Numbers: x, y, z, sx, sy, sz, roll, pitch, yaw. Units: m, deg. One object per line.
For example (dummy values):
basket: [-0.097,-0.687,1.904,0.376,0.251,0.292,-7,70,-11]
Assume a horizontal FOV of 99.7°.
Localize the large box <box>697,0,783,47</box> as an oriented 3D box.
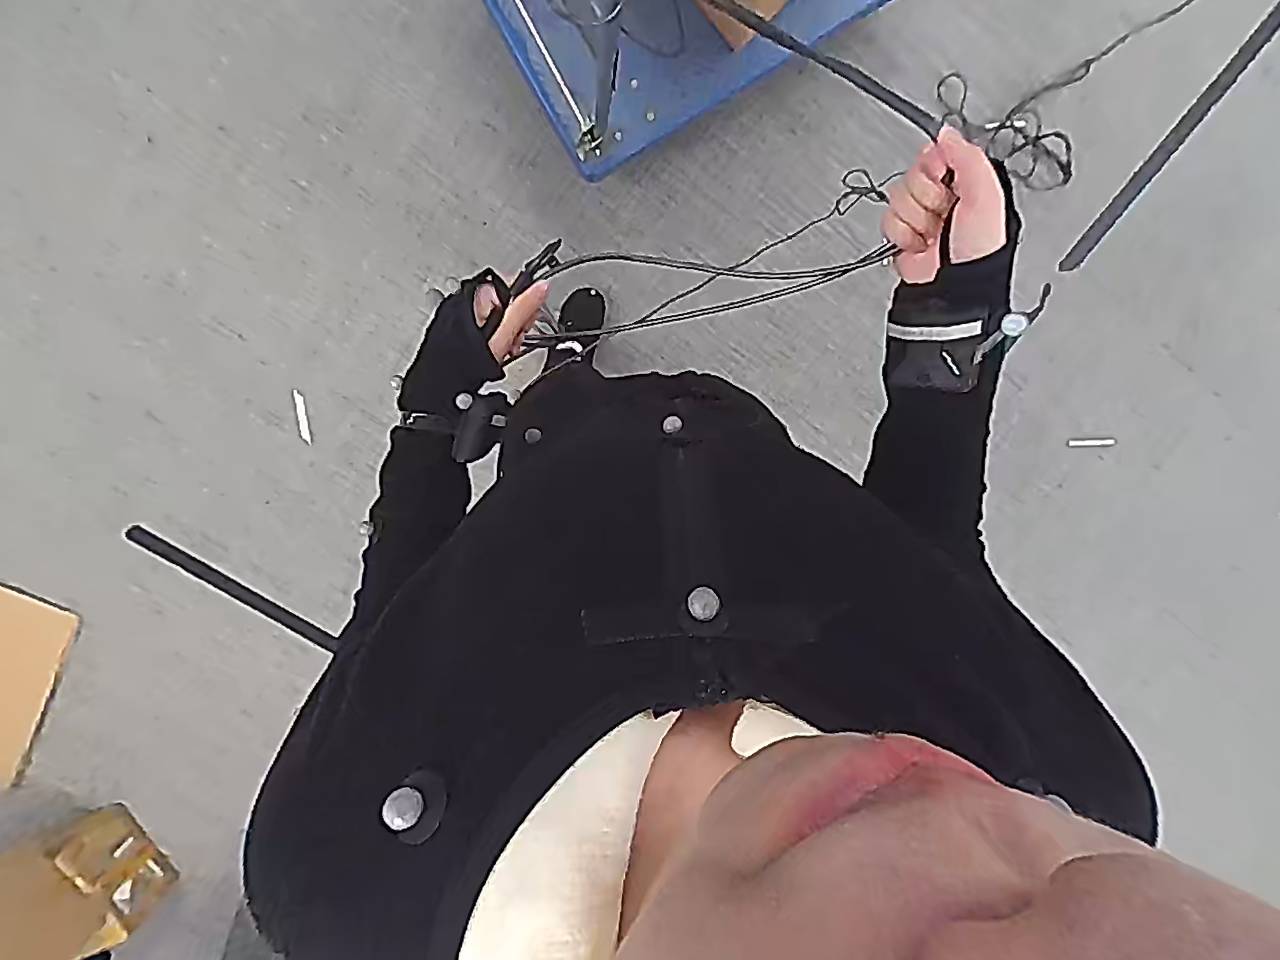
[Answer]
large box: [0.180,-1.103,0.930,0.320,0.320,0.408,-44,103,7]
